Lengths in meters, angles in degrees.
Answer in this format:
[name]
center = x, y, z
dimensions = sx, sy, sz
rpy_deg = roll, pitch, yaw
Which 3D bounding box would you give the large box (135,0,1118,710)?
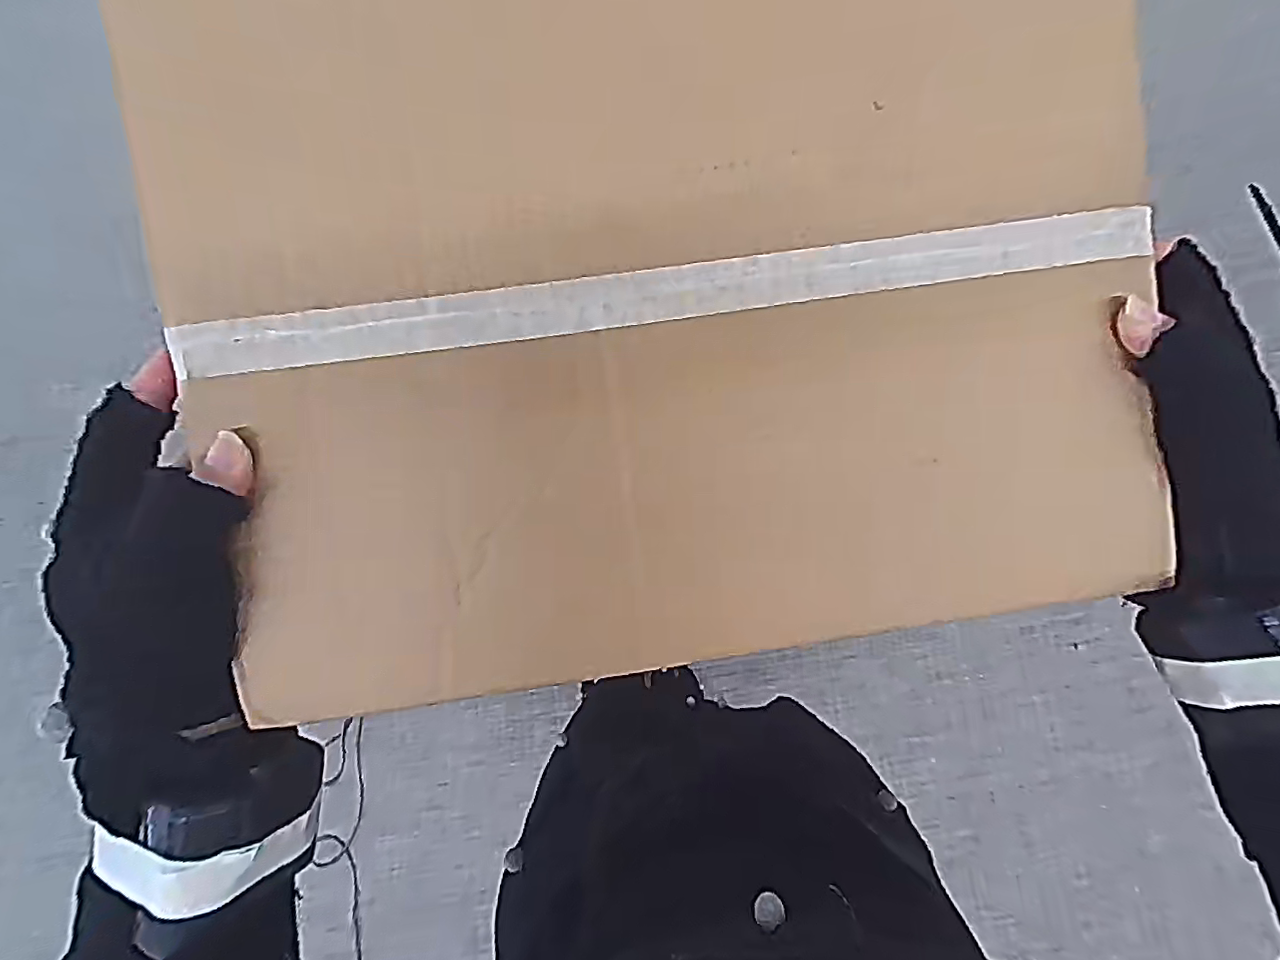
[large box]
center = 0.007, -0.089, 0.384
dimensions = 0.408, 0.320, 0.320
rpy_deg = -8, 94, -3
